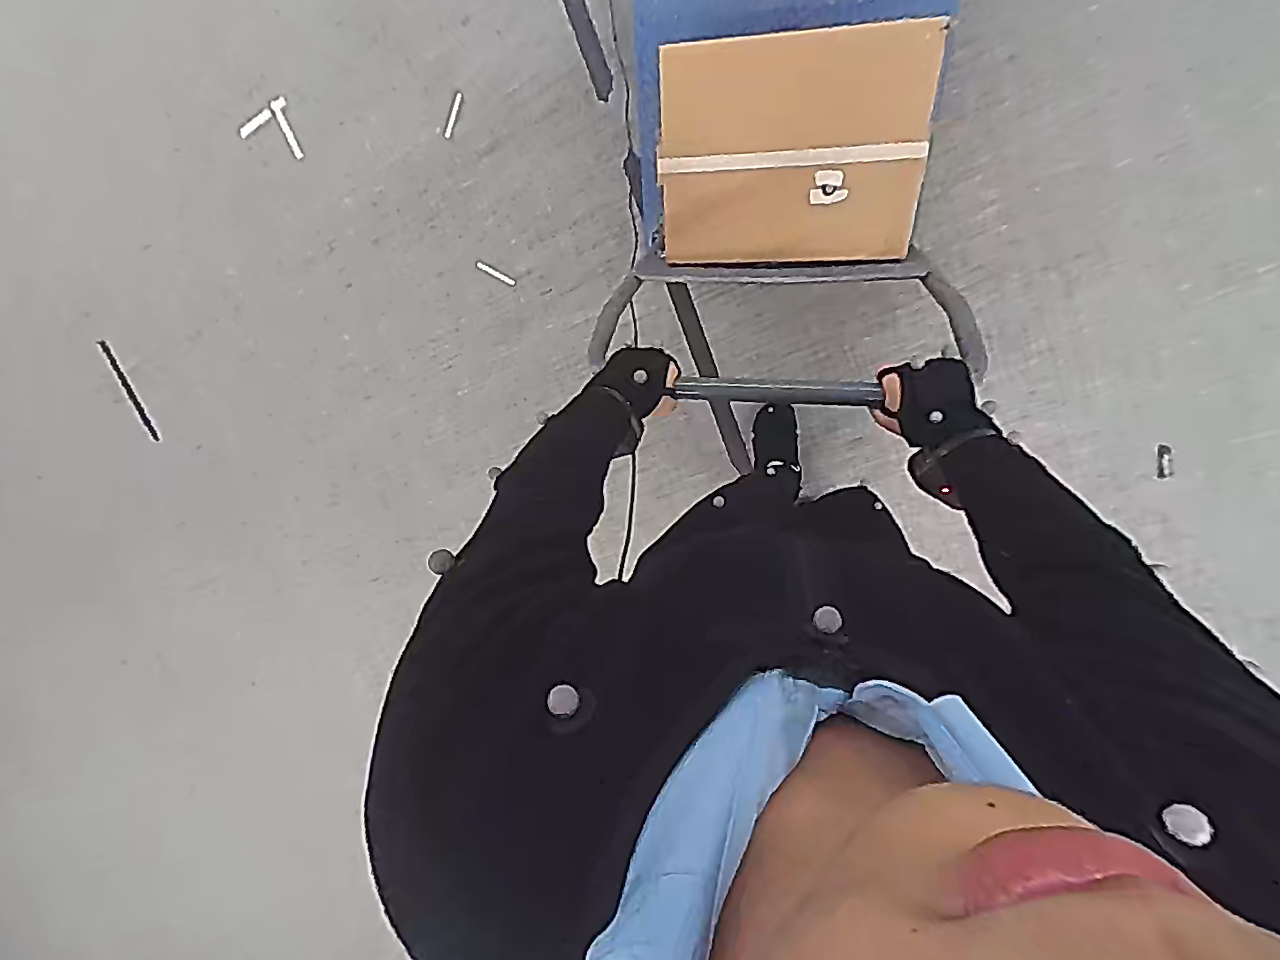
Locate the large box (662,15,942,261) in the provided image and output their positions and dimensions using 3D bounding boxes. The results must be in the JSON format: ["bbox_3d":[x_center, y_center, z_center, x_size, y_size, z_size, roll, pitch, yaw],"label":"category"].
[{"bbox_3d":[0.264,-0.599,0.990,0.408,0.320,0.320,3,123,11],"label":"large box"}]
